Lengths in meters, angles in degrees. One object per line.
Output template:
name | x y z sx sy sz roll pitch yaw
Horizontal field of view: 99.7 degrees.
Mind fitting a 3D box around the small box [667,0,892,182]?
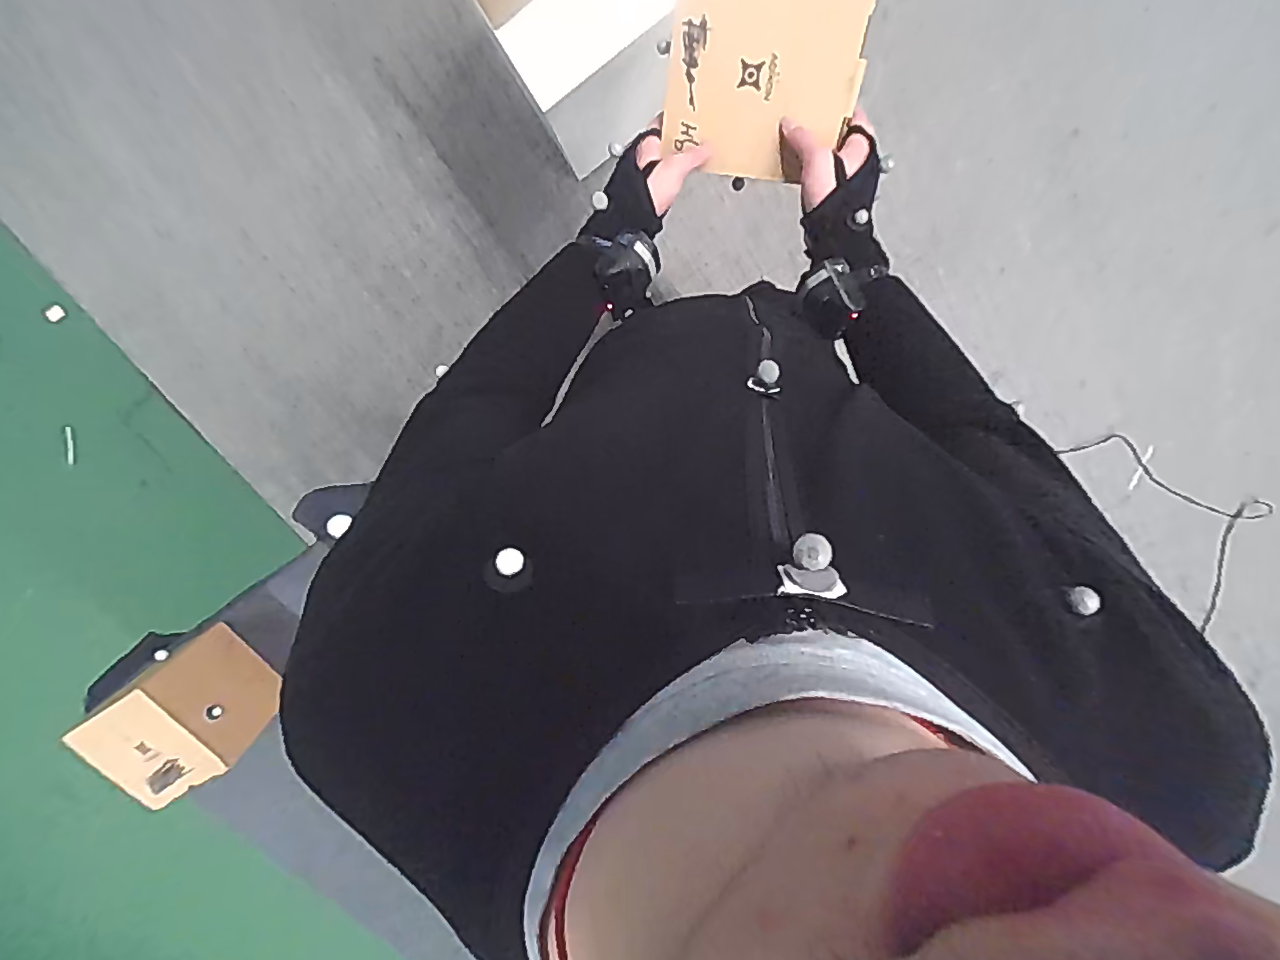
small box | 0.126 -0.413 0.553 0.179 0.176 0.168 8 121 1

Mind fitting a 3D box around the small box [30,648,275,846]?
small box | -0.710 0.392 0.815 0.168 0.176 0.179 -32 108 7
